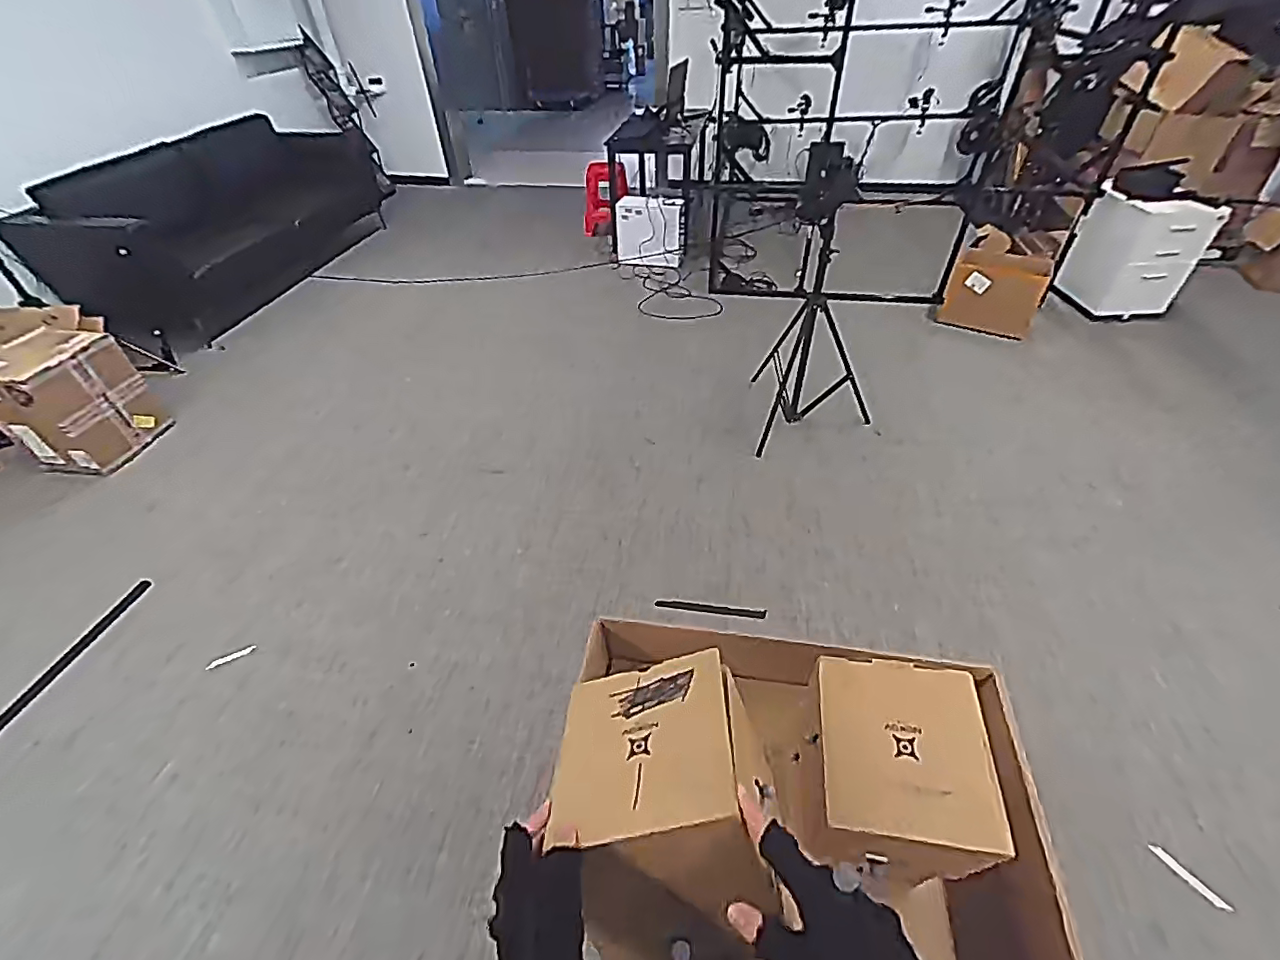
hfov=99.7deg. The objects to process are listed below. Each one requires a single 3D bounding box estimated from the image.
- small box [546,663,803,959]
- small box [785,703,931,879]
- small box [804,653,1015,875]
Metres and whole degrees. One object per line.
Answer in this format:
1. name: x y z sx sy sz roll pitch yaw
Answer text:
1. small box: 0.037 0.311 0.507 0.168 0.176 0.179 -20 16 11
2. small box: 0.301 0.429 0.742 0.179 0.176 0.168 4 48 10
3. small box: 0.283 0.324 0.618 0.168 0.176 0.179 2 49 11
